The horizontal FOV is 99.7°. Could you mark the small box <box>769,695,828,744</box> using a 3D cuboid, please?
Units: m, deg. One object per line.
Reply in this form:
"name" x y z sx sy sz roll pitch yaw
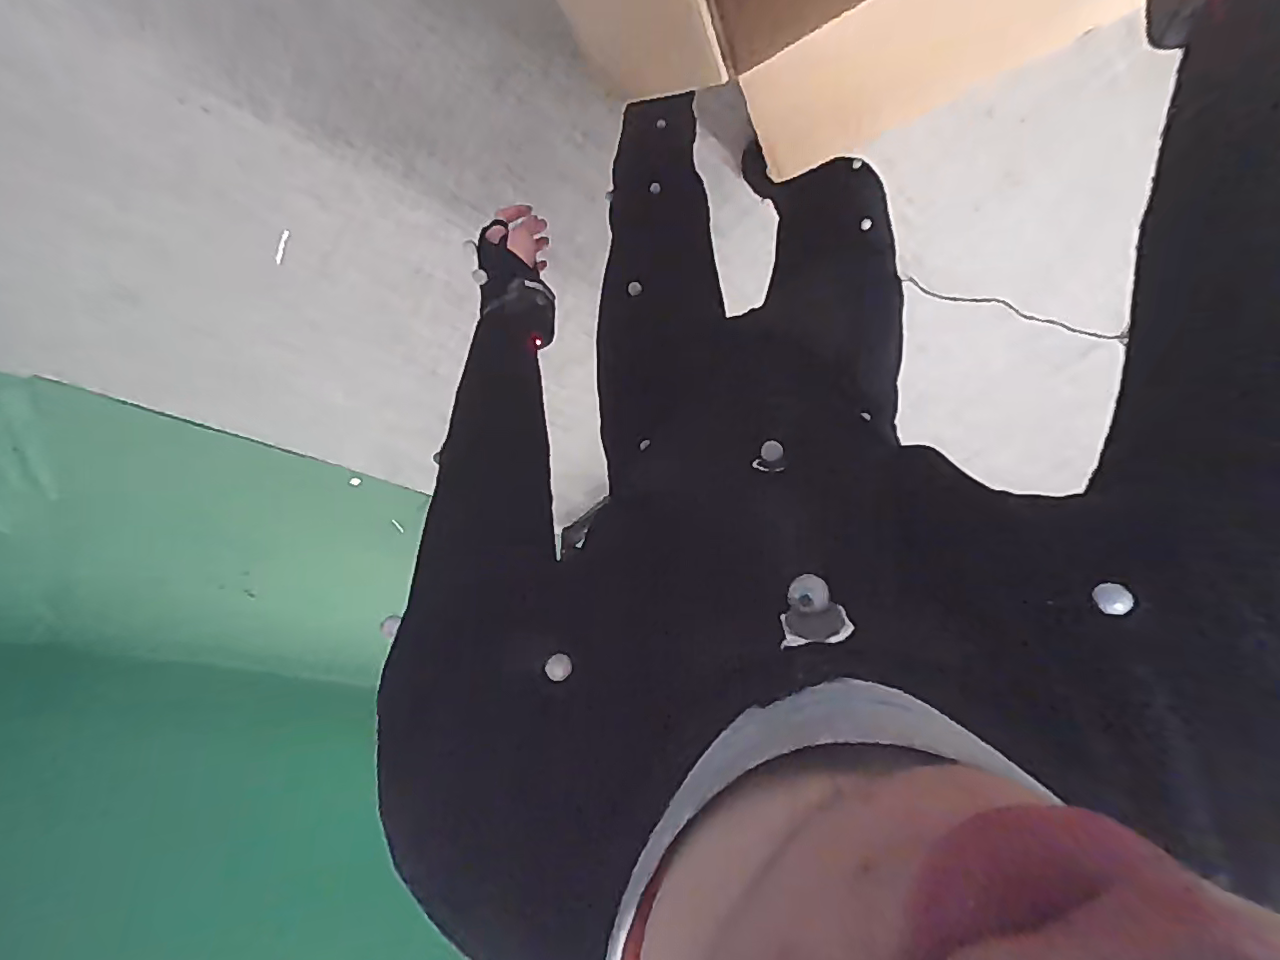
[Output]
"small box" 0.667 1.024 2.305 0.168 0.176 0.179 17 145 -24
